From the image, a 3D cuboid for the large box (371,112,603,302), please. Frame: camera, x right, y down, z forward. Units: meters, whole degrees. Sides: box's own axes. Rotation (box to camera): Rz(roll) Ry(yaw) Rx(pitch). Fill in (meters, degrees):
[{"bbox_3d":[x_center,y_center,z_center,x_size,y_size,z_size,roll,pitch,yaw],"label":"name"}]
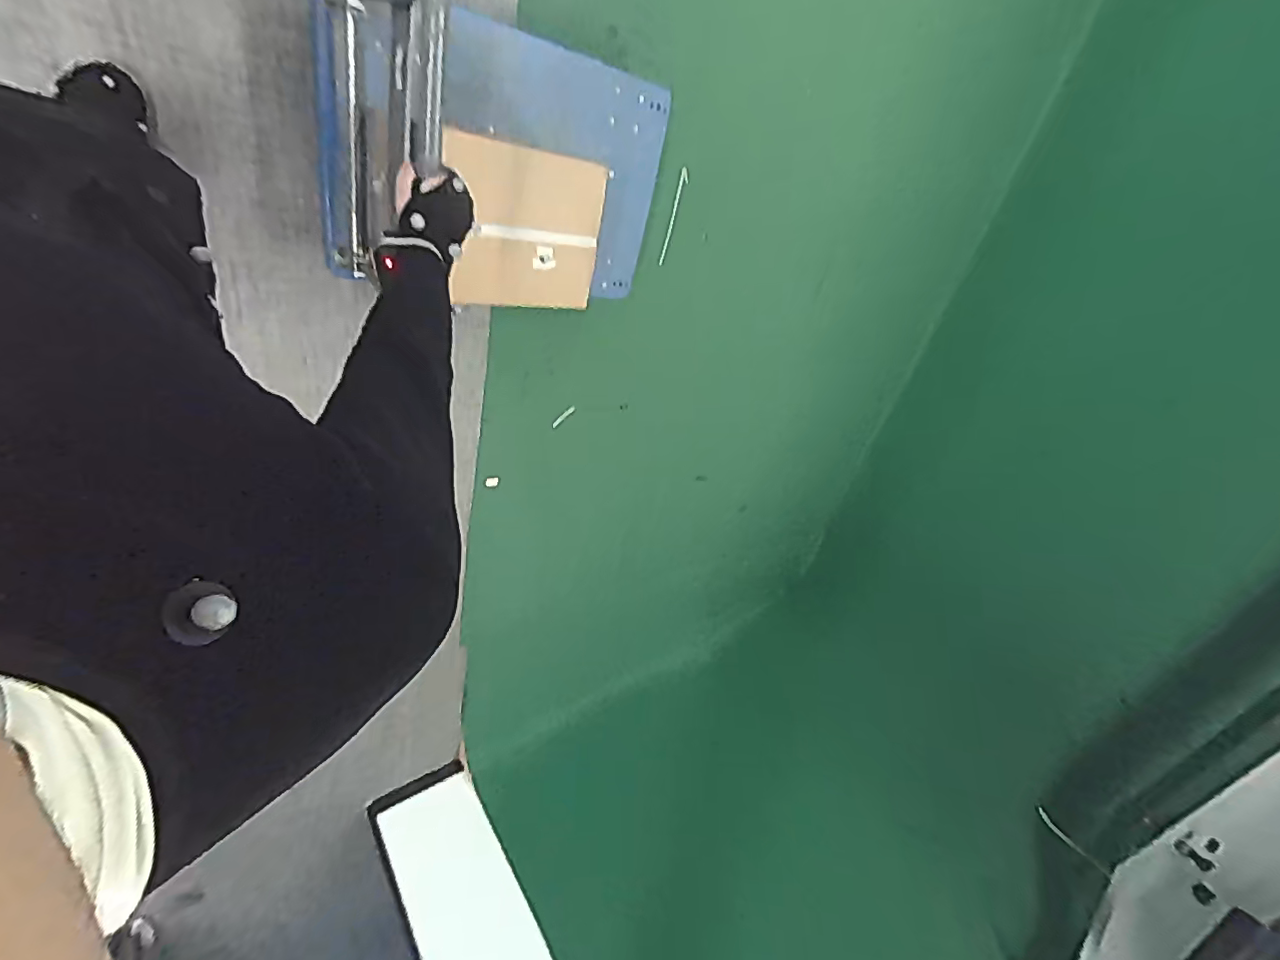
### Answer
[{"bbox_3d":[-0.354,-0.612,1.238,0.408,0.320,0.320,-12,130,-38],"label":"large box"}]
